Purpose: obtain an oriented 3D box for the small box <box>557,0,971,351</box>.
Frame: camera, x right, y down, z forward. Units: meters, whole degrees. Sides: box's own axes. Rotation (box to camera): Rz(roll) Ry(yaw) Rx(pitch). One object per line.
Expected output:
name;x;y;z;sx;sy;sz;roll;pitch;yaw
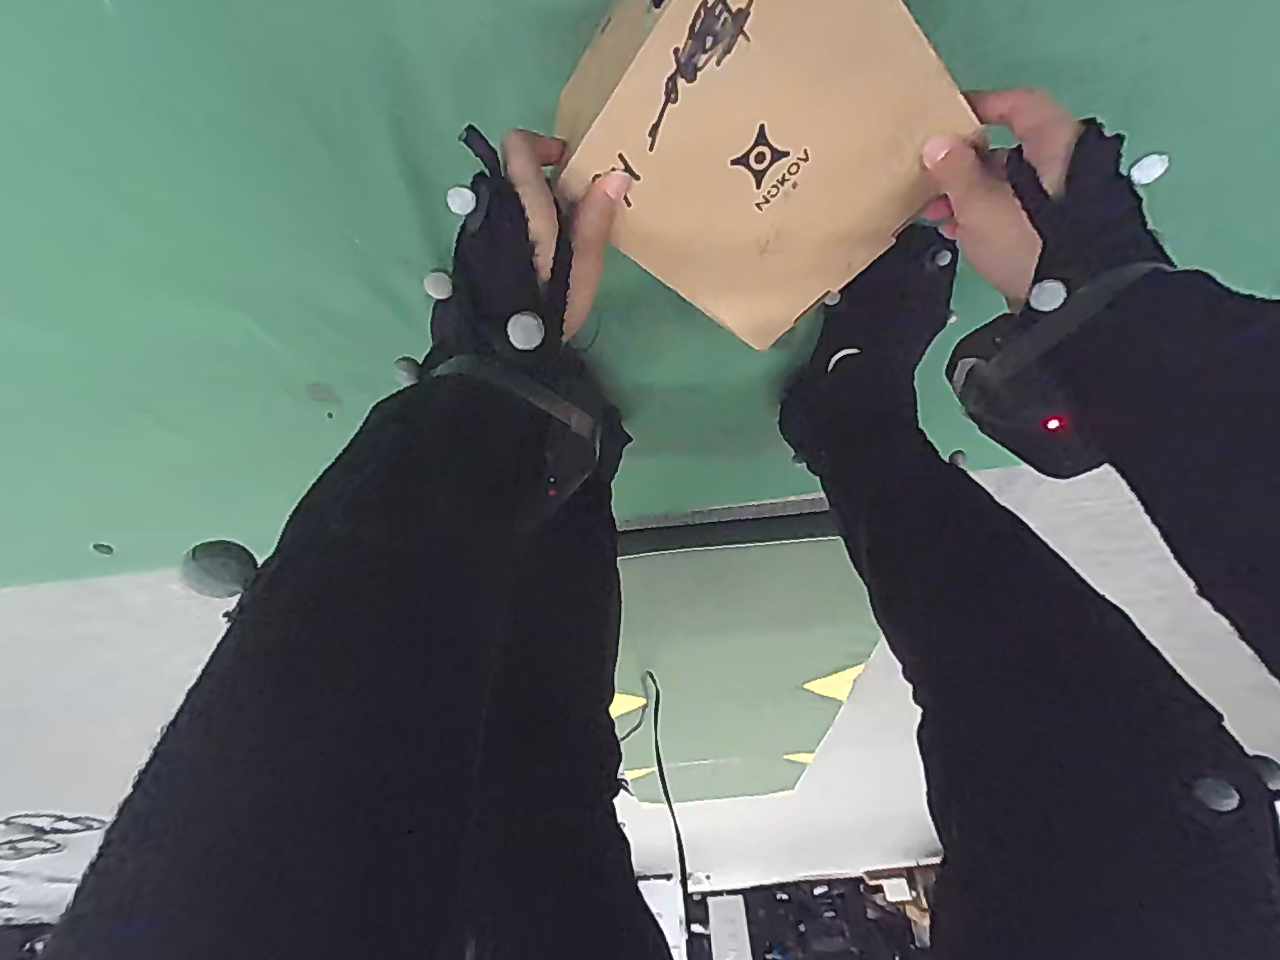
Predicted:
small box;0.064;-0.227;0.354;0.179;0.176;0.168;26;129;-30
